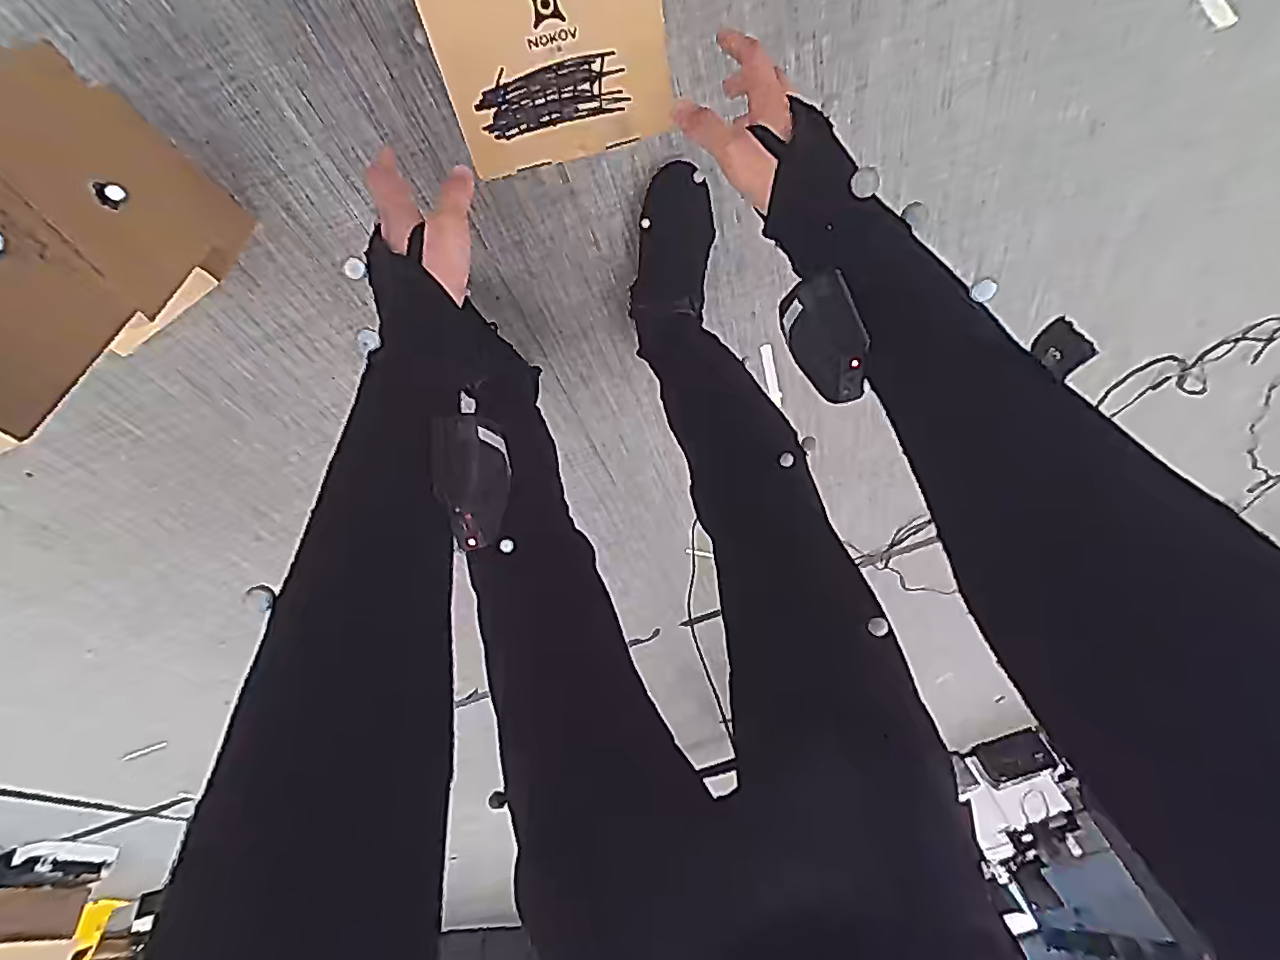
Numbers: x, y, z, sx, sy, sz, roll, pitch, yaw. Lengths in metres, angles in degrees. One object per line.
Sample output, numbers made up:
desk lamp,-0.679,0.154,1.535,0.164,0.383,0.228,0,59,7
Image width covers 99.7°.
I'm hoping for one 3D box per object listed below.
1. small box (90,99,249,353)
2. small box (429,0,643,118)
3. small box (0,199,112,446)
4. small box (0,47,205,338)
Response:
small box,-0.587,-0.283,0.597,0.168,0.176,0.179,-28,137,13
small box,-0.115,-0.493,0.528,0.179,0.176,0.168,-21,138,3
small box,-0.499,-0.099,0.332,0.179,0.176,0.168,-23,137,7
small box,-0.519,-0.221,0.441,0.168,0.176,0.179,-17,138,2
